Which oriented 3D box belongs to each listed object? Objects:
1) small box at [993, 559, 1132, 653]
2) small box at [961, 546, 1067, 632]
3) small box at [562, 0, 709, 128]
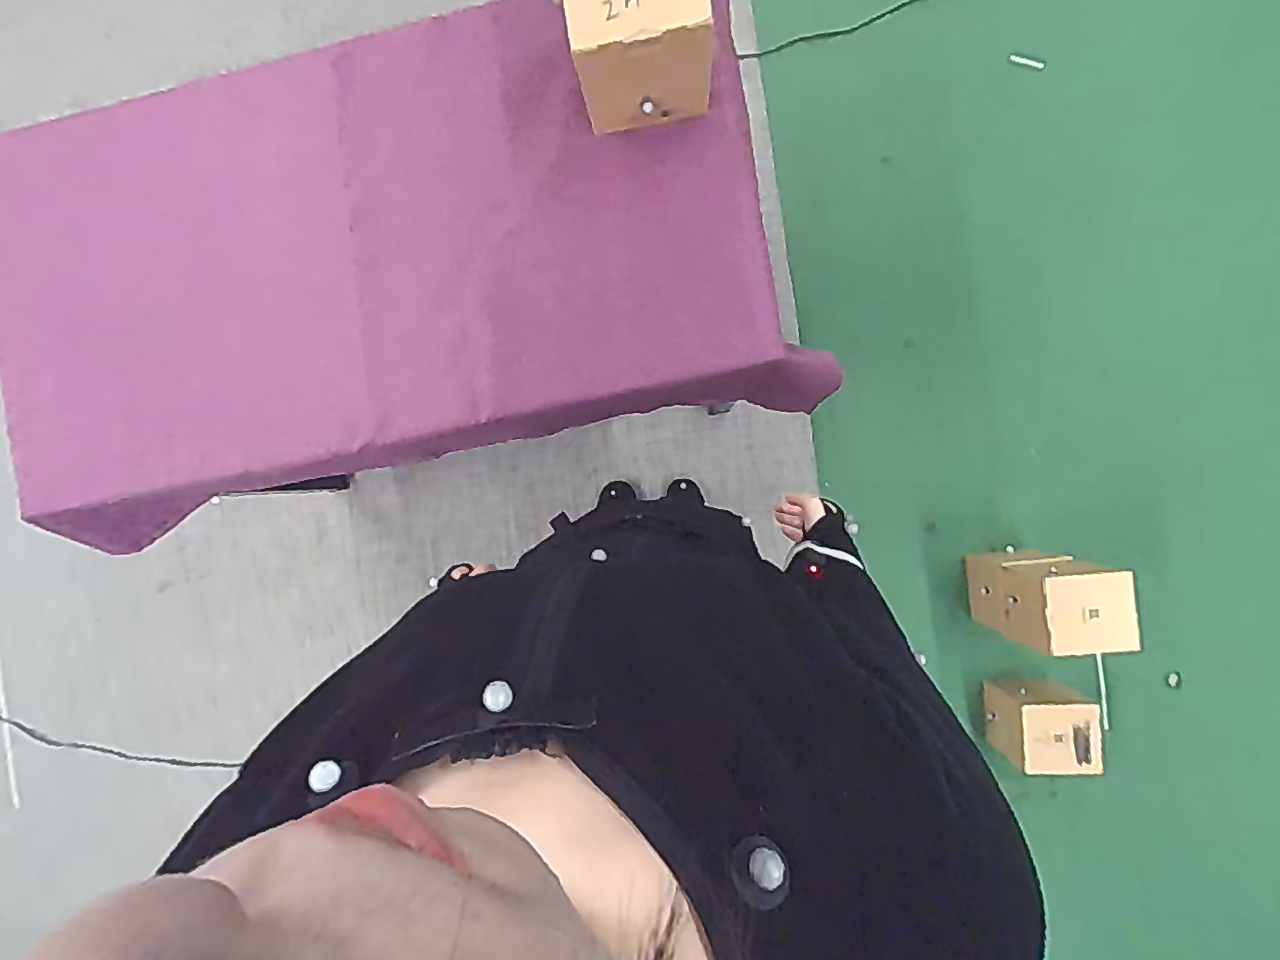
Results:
[{"bbox_3d":[0.924,0.271,1.196,0.179,0.176,0.168,-6,90,5],"label":"small box"},{"bbox_3d":[0.939,0.269,1.358,0.168,0.176,0.179,-6,89,4],"label":"small box"},{"bbox_3d":[-0.008,-0.595,0.688,0.168,0.176,0.179,-8,93,5],"label":"small box"}]
